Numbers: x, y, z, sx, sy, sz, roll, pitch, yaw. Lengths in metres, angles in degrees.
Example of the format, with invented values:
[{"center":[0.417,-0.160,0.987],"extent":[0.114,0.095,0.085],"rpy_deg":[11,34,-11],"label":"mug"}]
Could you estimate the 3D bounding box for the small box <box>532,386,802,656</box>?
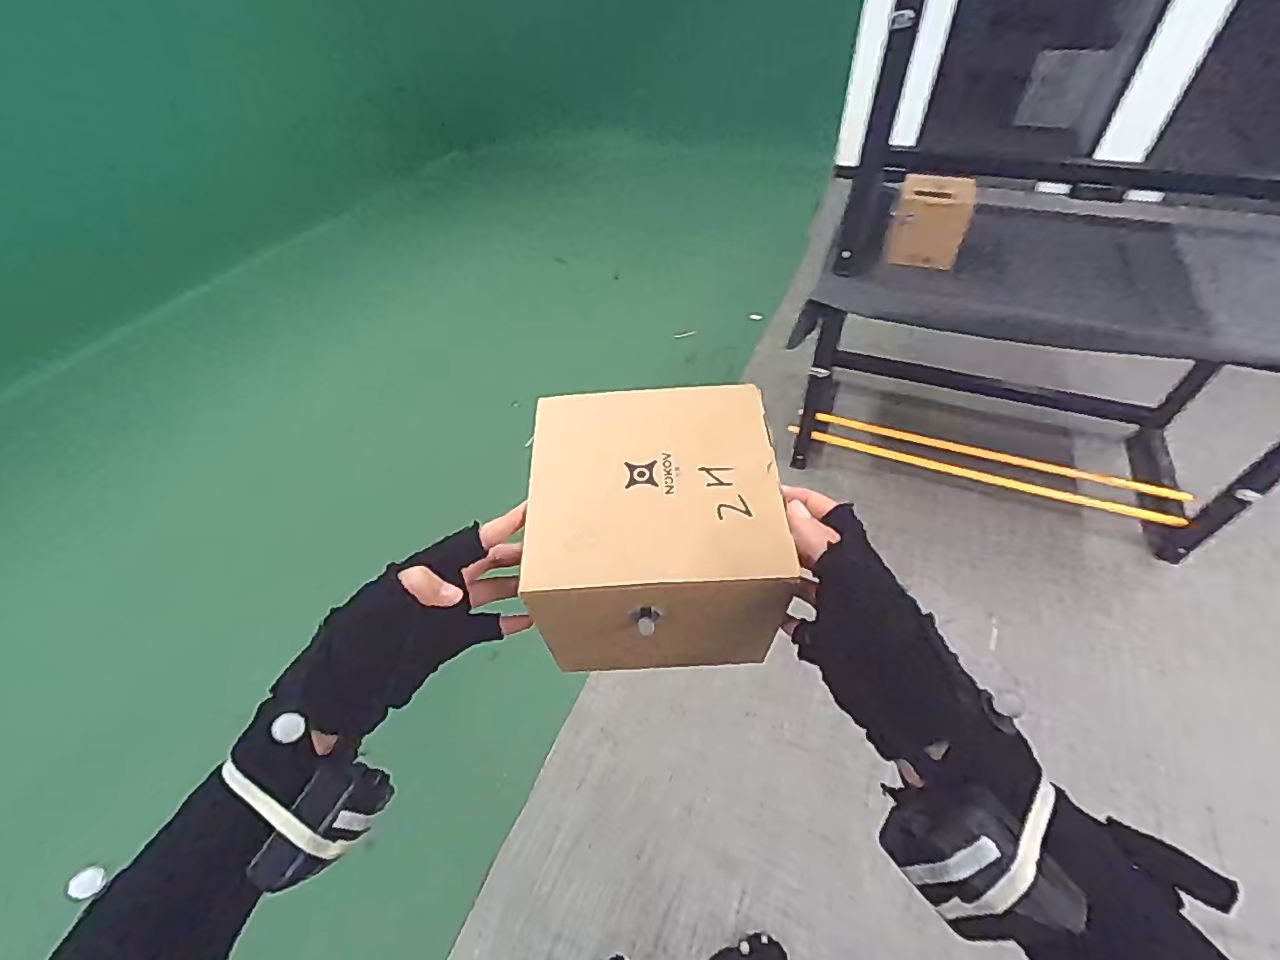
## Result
[{"center":[0.019,0.042,0.452],"extent":[0.179,0.176,0.168],"rpy_deg":[-2,56,1],"label":"small box"}]
